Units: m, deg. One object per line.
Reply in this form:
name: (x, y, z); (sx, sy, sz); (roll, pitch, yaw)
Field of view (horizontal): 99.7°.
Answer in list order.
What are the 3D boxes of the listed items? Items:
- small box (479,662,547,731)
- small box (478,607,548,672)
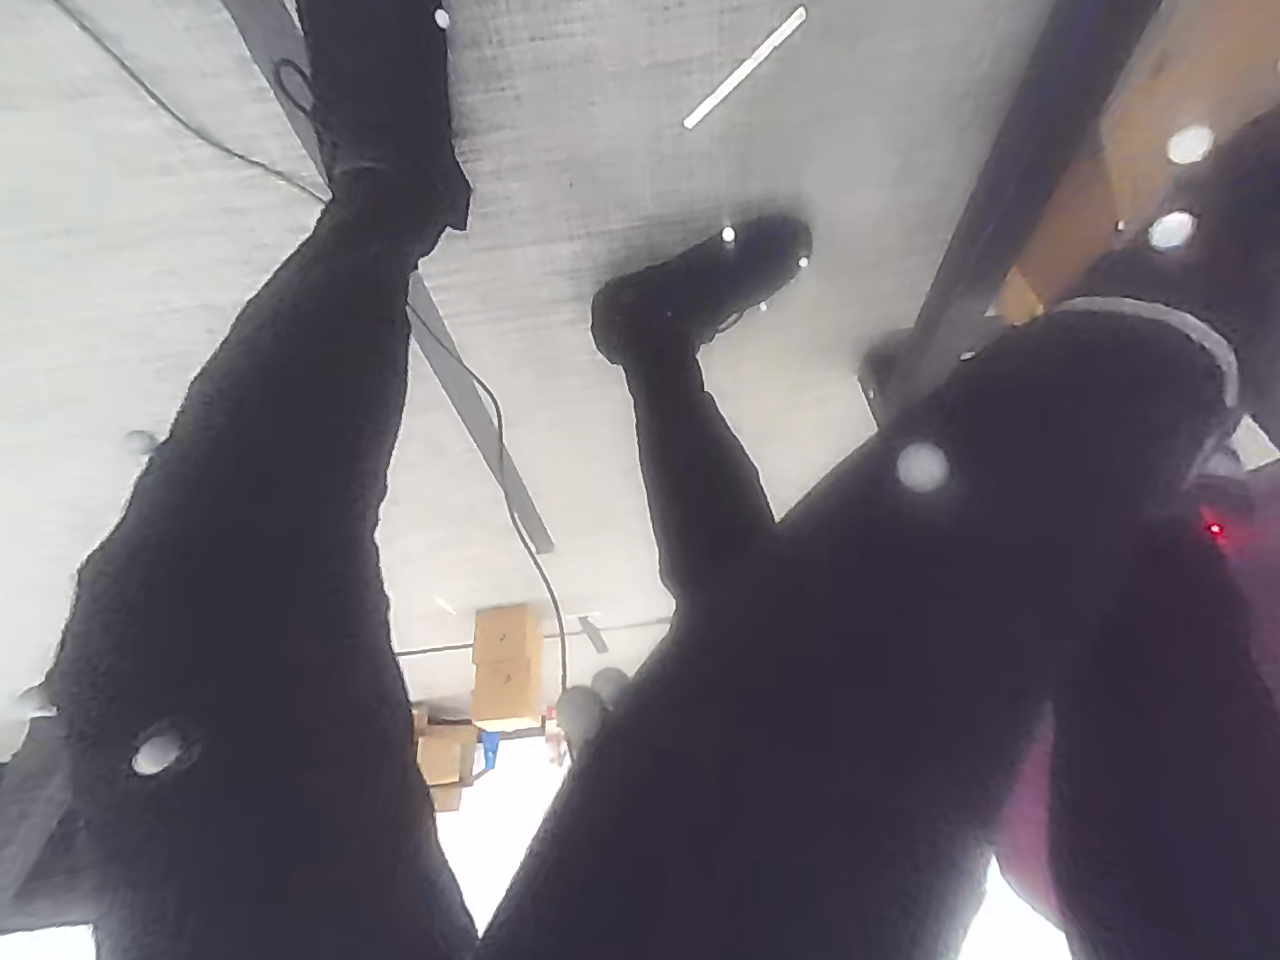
small box: (-0.384, 0.666, 1.666); (0.168, 0.176, 0.179); (-6, 147, 1)
small box: (-0.402, 0.523, 1.742); (0.179, 0.176, 0.168); (-9, 148, 4)
